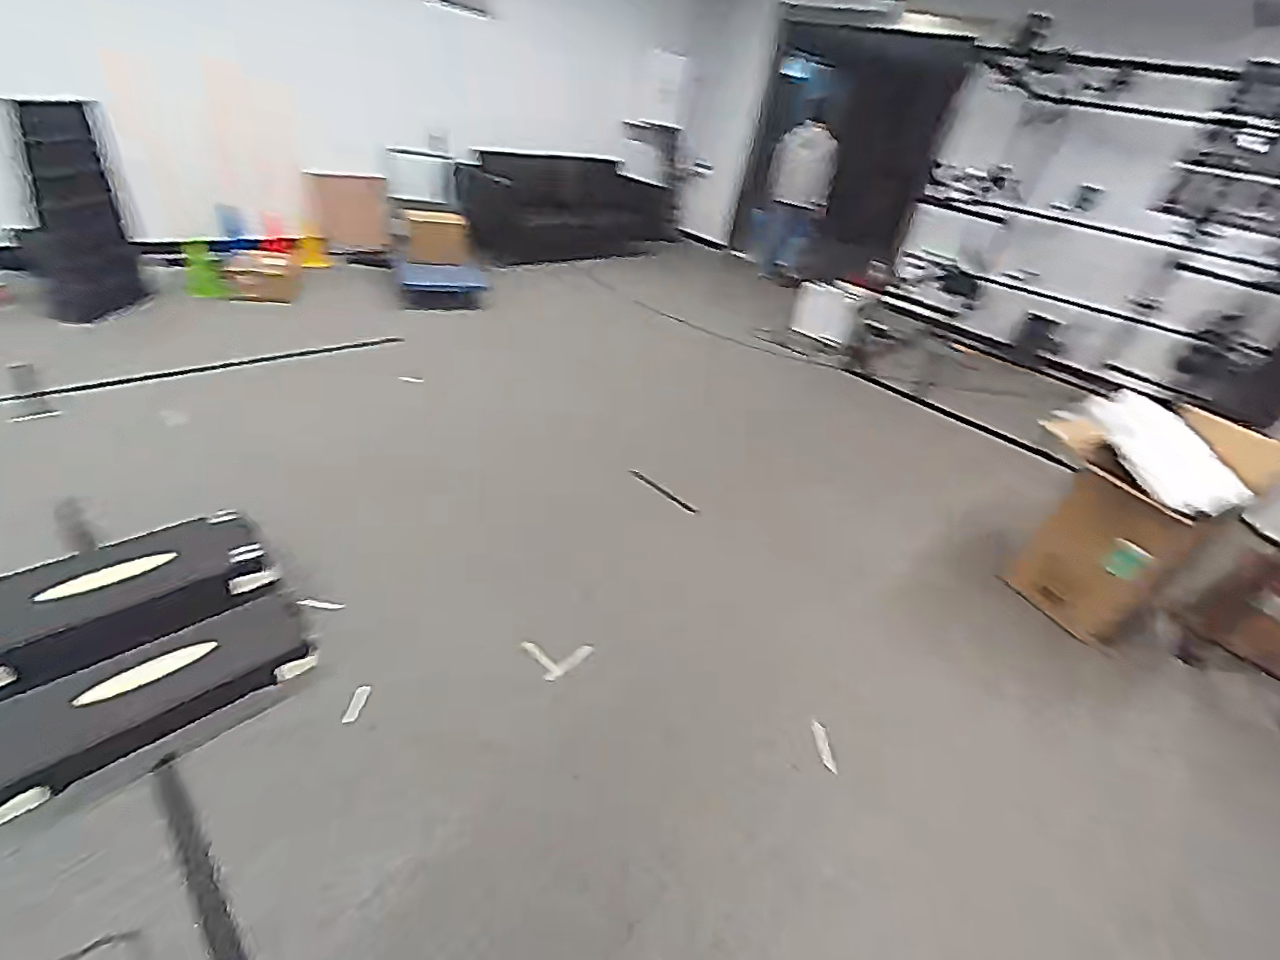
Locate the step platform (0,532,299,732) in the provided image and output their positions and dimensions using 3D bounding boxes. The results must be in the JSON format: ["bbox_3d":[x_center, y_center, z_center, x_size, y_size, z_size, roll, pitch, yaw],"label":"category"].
[{"bbox_3d":[-1.366,0.378,1.498,0.684,0.204,0.286,-19,43,-39],"label":"step platform"}]
